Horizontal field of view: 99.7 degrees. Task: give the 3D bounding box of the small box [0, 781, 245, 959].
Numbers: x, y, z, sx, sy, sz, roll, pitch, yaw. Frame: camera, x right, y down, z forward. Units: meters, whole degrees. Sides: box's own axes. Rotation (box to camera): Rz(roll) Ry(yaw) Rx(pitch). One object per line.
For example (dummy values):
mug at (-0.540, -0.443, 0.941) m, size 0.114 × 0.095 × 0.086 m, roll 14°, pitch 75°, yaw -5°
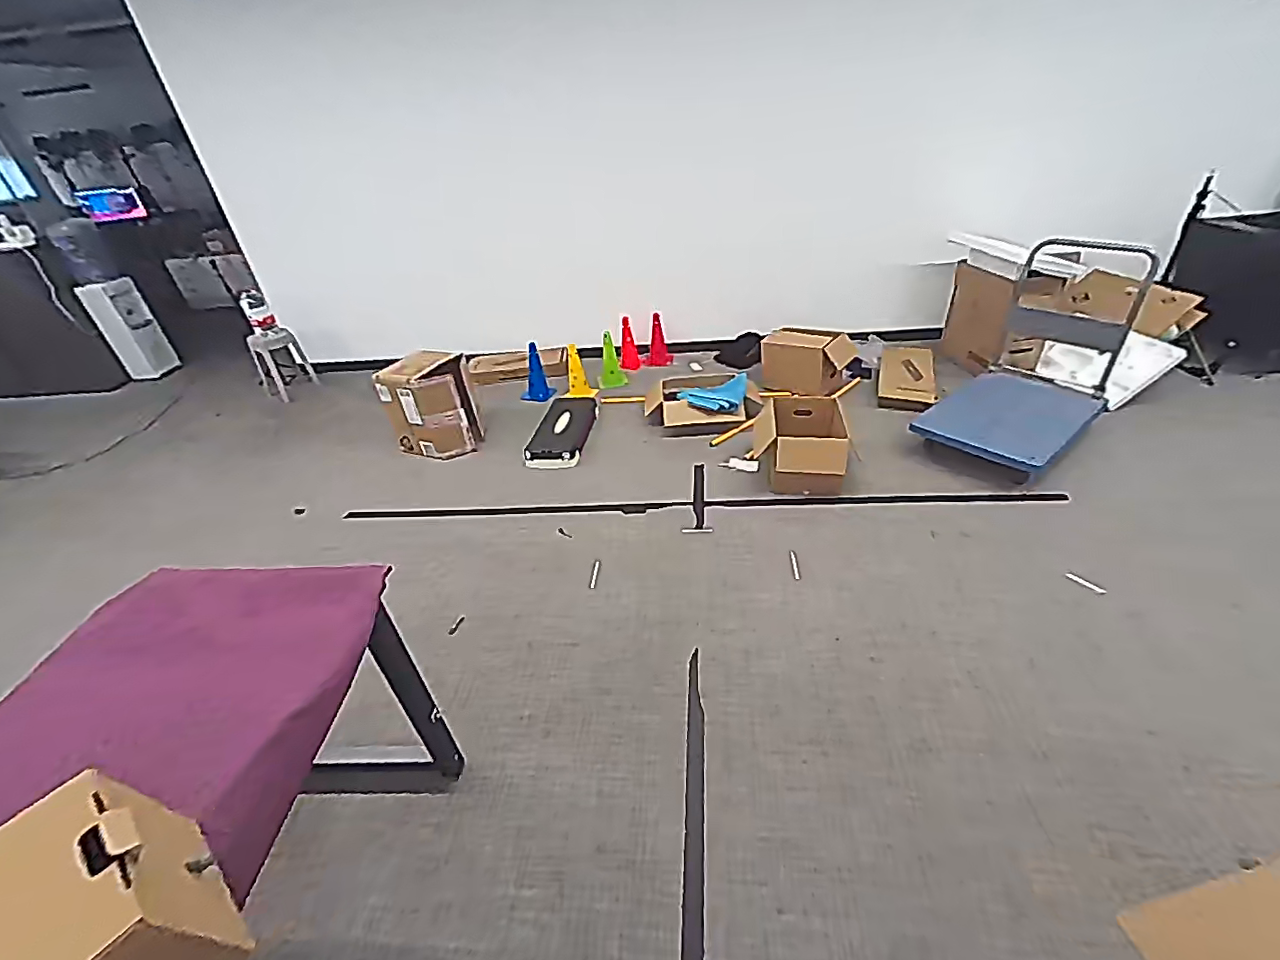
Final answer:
small box at (-0.484, 0.405, 0.447) m, size 0.168 × 0.176 × 0.179 m, roll 28°, pitch 49°, yaw 30°
